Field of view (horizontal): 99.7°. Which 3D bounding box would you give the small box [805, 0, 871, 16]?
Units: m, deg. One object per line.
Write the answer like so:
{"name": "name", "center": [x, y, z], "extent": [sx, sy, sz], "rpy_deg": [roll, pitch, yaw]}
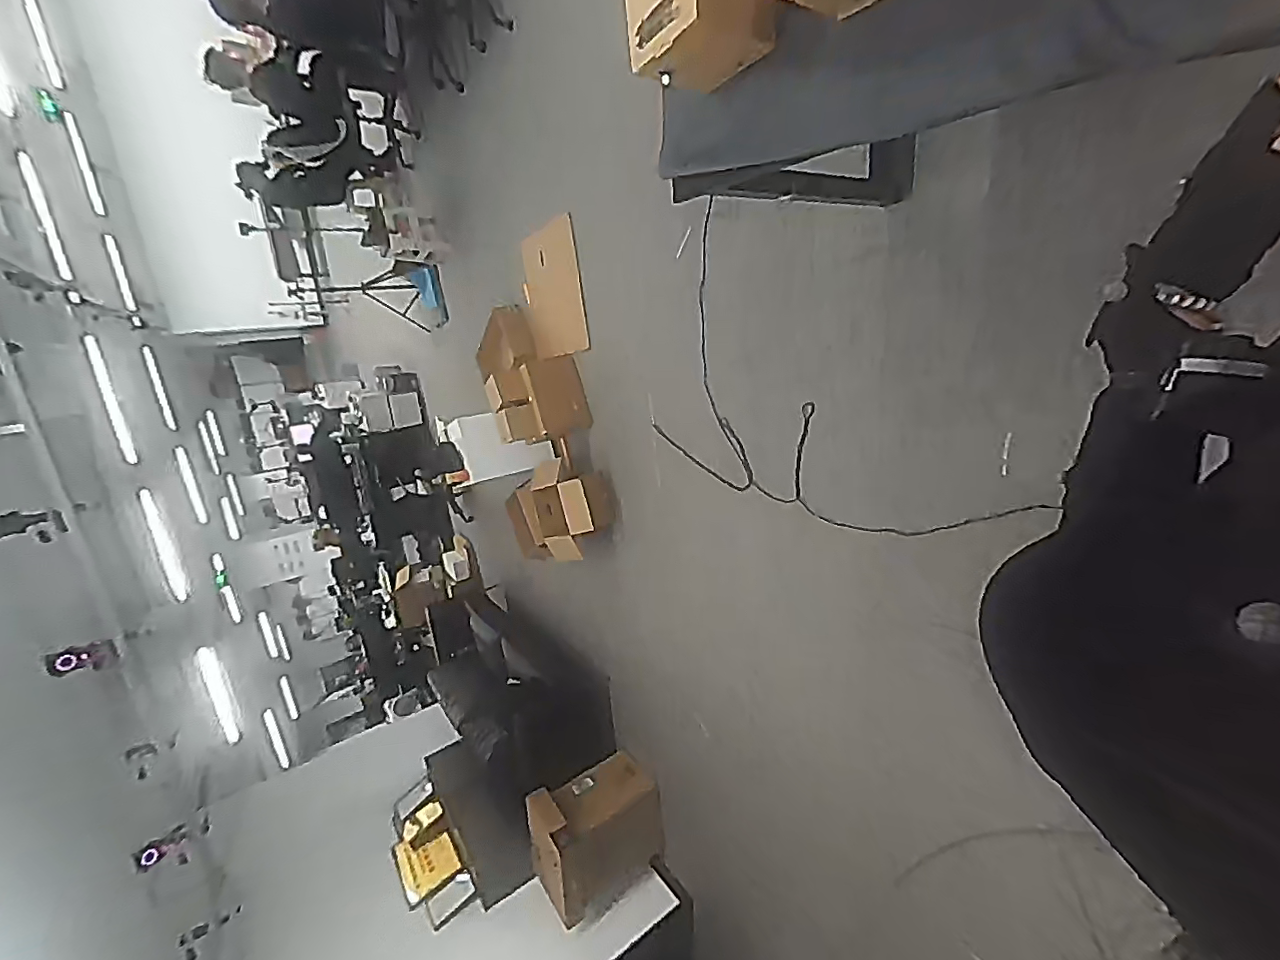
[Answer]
{"name": "small box", "center": [0.255, -0.705, 0.640], "extent": [0.168, 0.176, 0.179], "rpy_deg": [18, 119, 51]}
